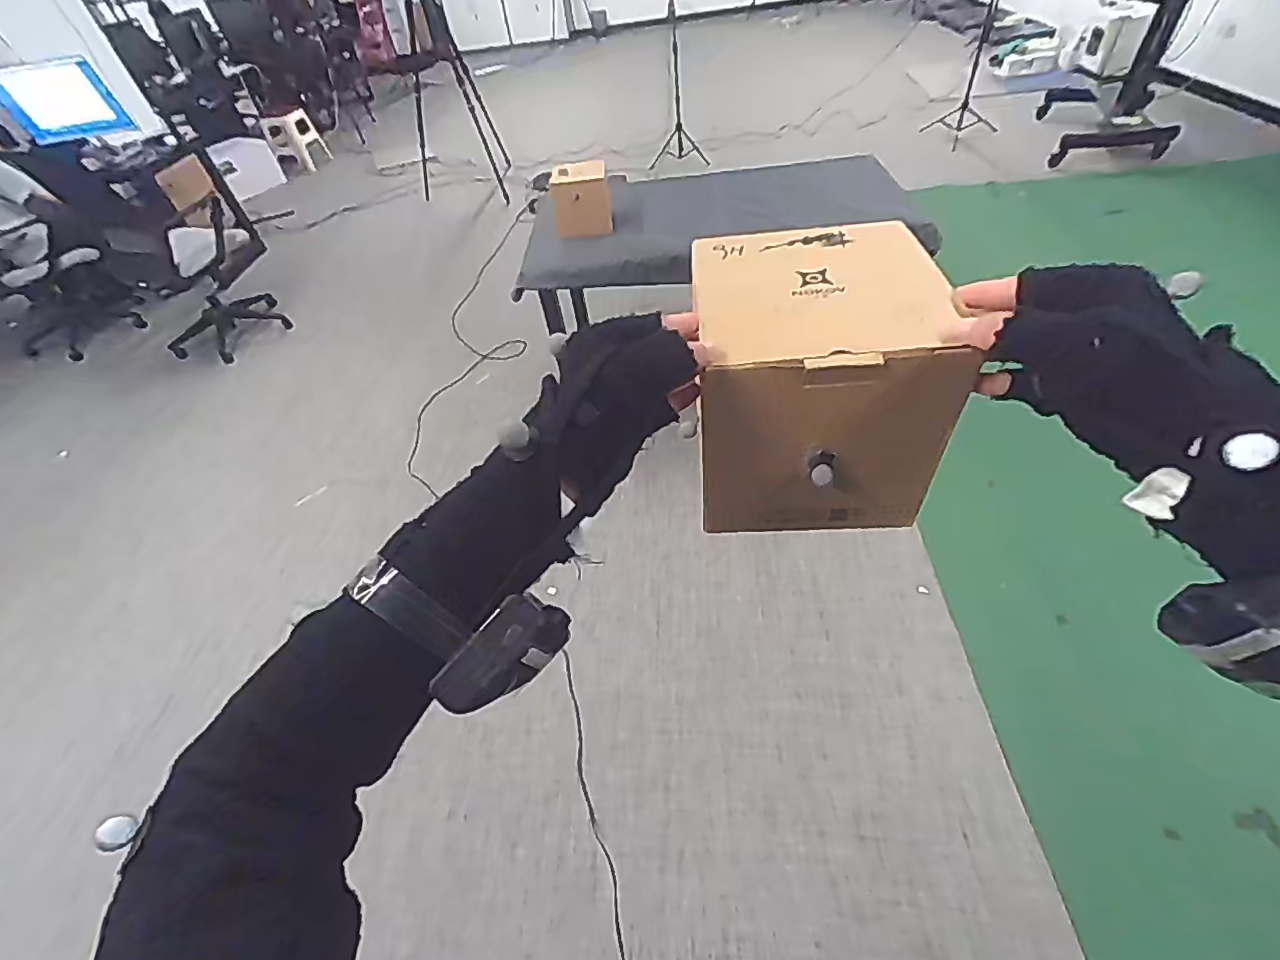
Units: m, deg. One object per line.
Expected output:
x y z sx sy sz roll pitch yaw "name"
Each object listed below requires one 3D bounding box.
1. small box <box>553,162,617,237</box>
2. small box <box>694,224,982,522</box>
-0.174 -0.909 1.761 0.179 0.176 0.168 -5 47 2 "small box"
0.132 -0.077 0.435 0.168 0.176 0.179 -3 48 6 "small box"
